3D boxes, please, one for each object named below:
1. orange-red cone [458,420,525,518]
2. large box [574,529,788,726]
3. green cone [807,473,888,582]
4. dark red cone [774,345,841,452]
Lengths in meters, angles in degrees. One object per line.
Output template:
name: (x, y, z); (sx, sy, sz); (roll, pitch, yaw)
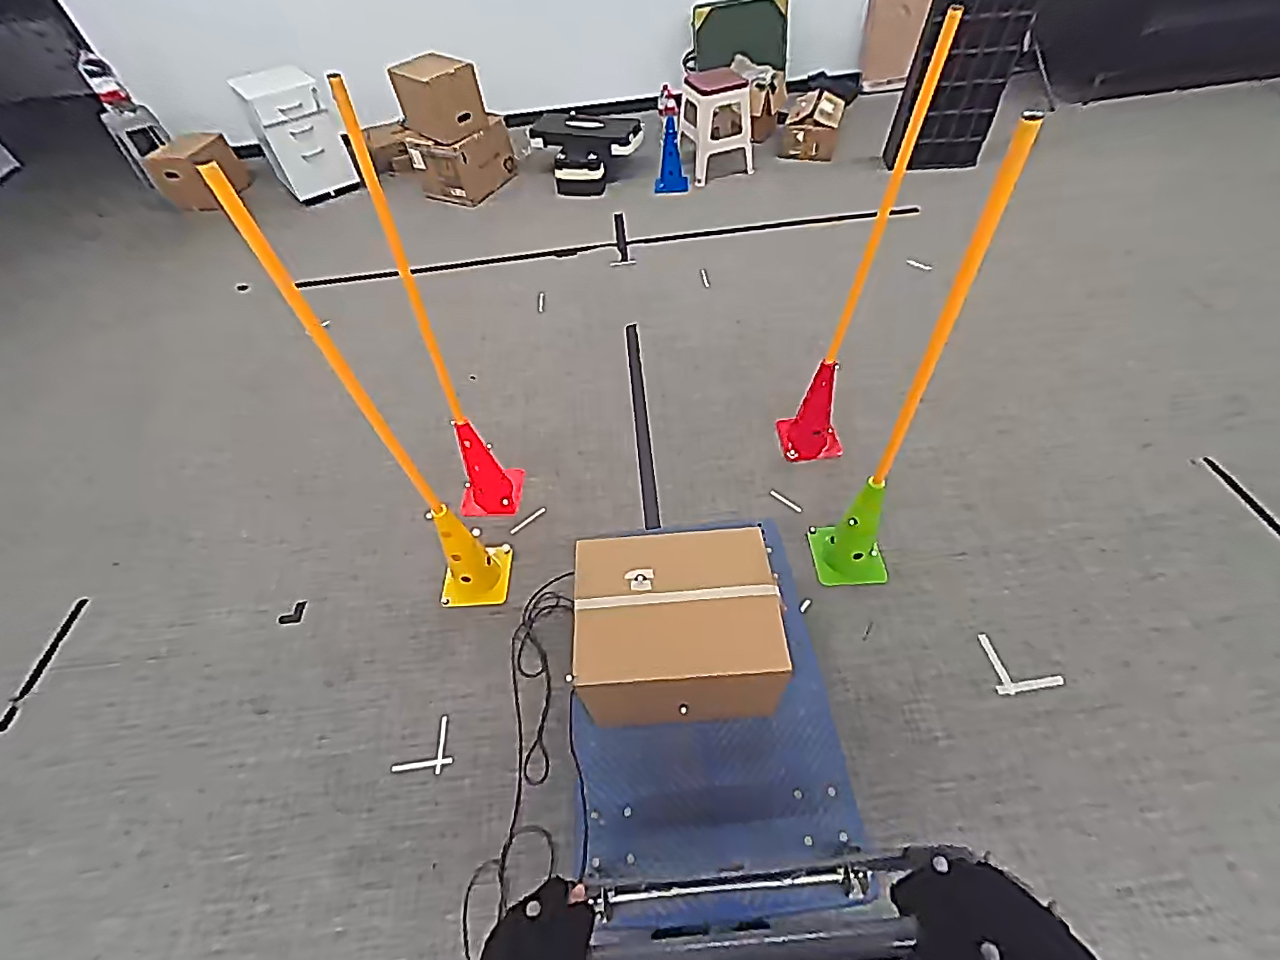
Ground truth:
orange-red cone: (-0.524, -0.059, 1.765); (0.198, 0.360, 0.199); (0, 50, 4)
large box: (0.082, 0.337, 1.202); (0.408, 0.320, 0.320); (-6, 51, 2)
green cone: (0.615, 0.112, 1.511); (0.202, 0.368, 0.200); (-3, 51, 2)
dark red cone: (0.589, -0.277, 1.801); (0.201, 0.394, 0.202); (-6, 52, -1)
